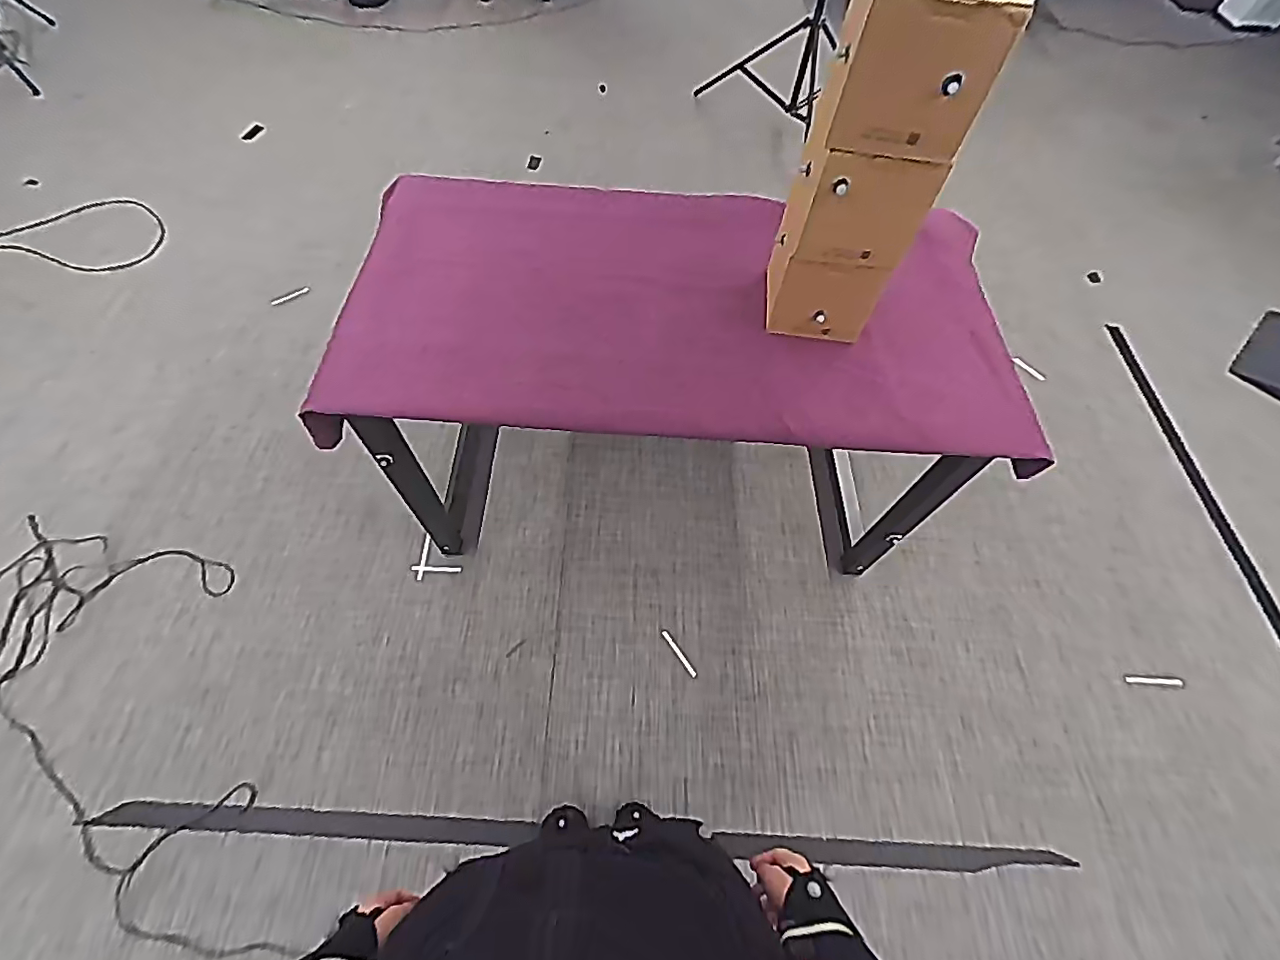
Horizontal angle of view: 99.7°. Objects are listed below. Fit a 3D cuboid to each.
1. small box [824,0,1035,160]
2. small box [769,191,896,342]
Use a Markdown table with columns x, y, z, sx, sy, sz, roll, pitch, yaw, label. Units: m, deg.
| x | y | z | sx | sy | sz | roll | pitch | yaw | label |
| --- | --- | --- | --- | --- | --- | --- | --- | --- | --- |
| 0.338 | -0.531 | 0.672 | 0.168 | 0.176 | 0.179 | 10 | 59 | 2 | small box |
| 0.329 | -0.375 | 0.959 | 0.168 | 0.176 | 0.179 | 7 | 60 | 2 | small box |
